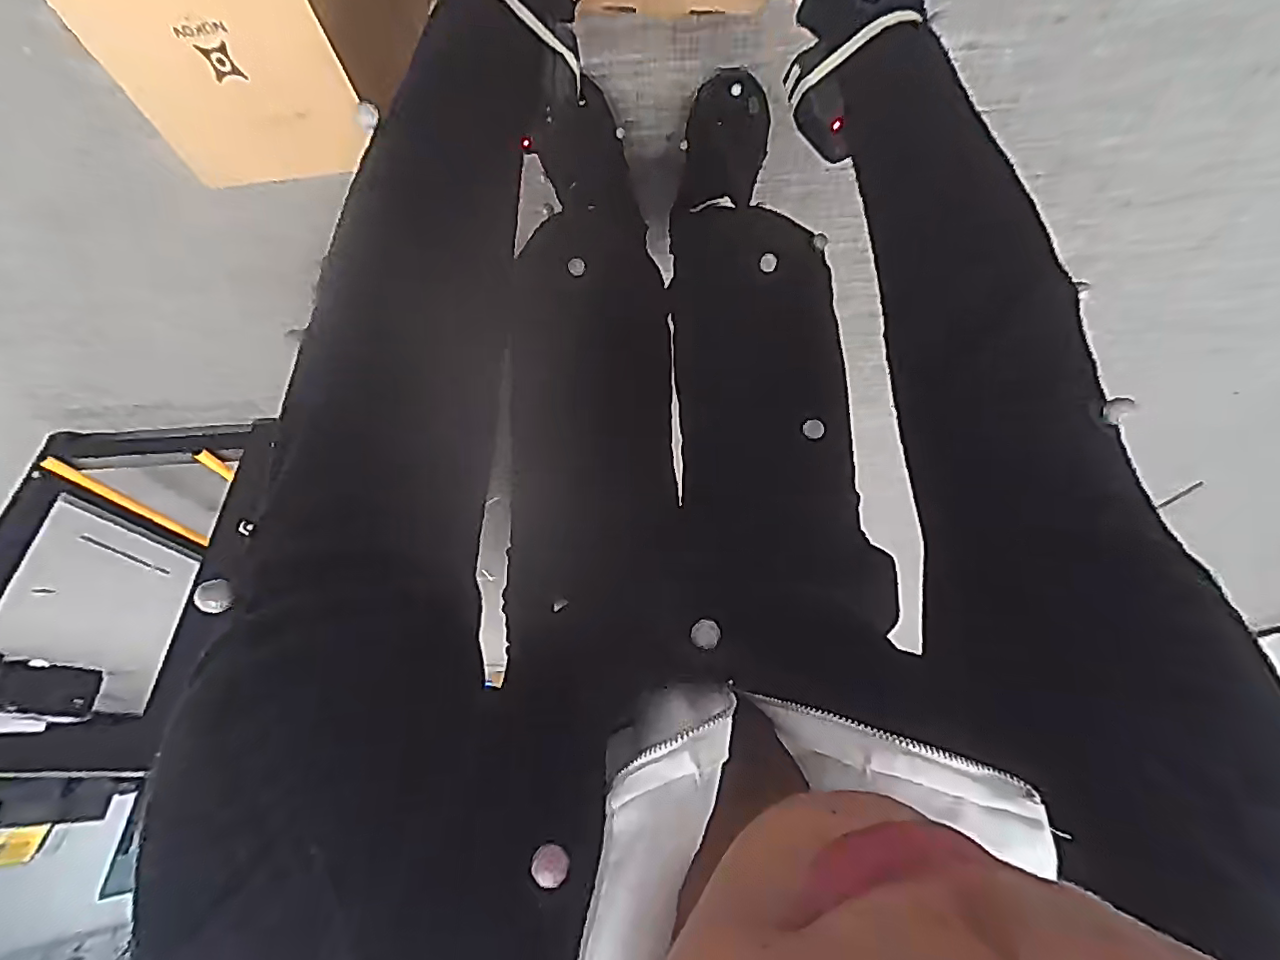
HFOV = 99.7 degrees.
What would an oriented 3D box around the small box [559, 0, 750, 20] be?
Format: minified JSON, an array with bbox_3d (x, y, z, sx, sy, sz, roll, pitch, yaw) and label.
[{"bbox_3d":[0.020,-0.507,0.427,0.168,0.176,0.179,4,147,2],"label":"small box"}]

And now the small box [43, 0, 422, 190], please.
[{"bbox_3d":[-0.289,-0.358,0.406,0.168,0.176,0.179,-4,153,6],"label":"small box"}]
